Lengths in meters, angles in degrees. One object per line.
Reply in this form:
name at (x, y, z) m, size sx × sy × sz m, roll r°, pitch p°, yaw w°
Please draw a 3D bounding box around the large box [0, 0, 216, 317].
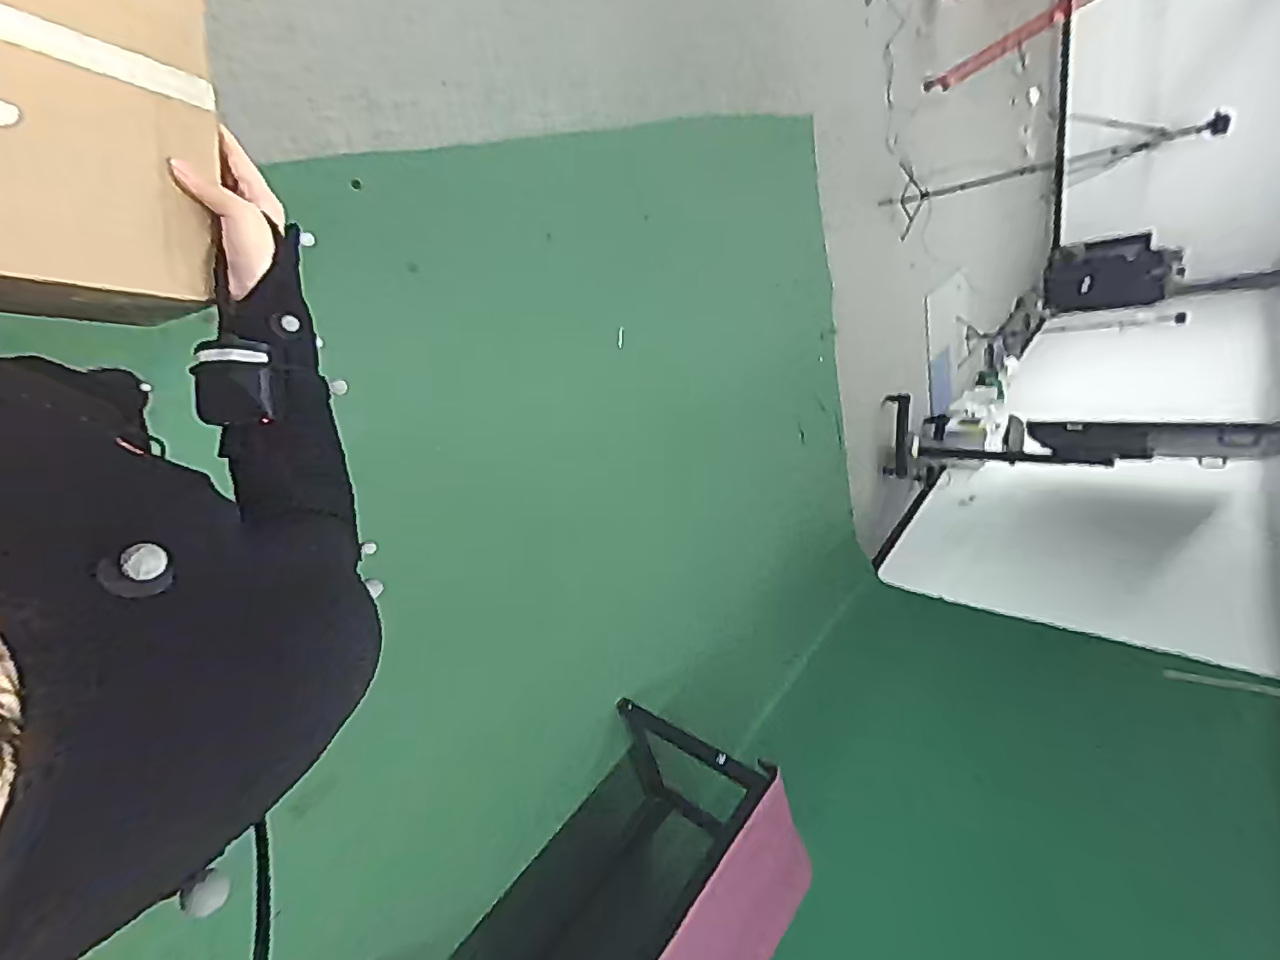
large box at (-0.592, -0.301, 0.368) m, size 0.408 × 0.320 × 0.320 m, roll -9°, pitch 105°, yaw -50°
